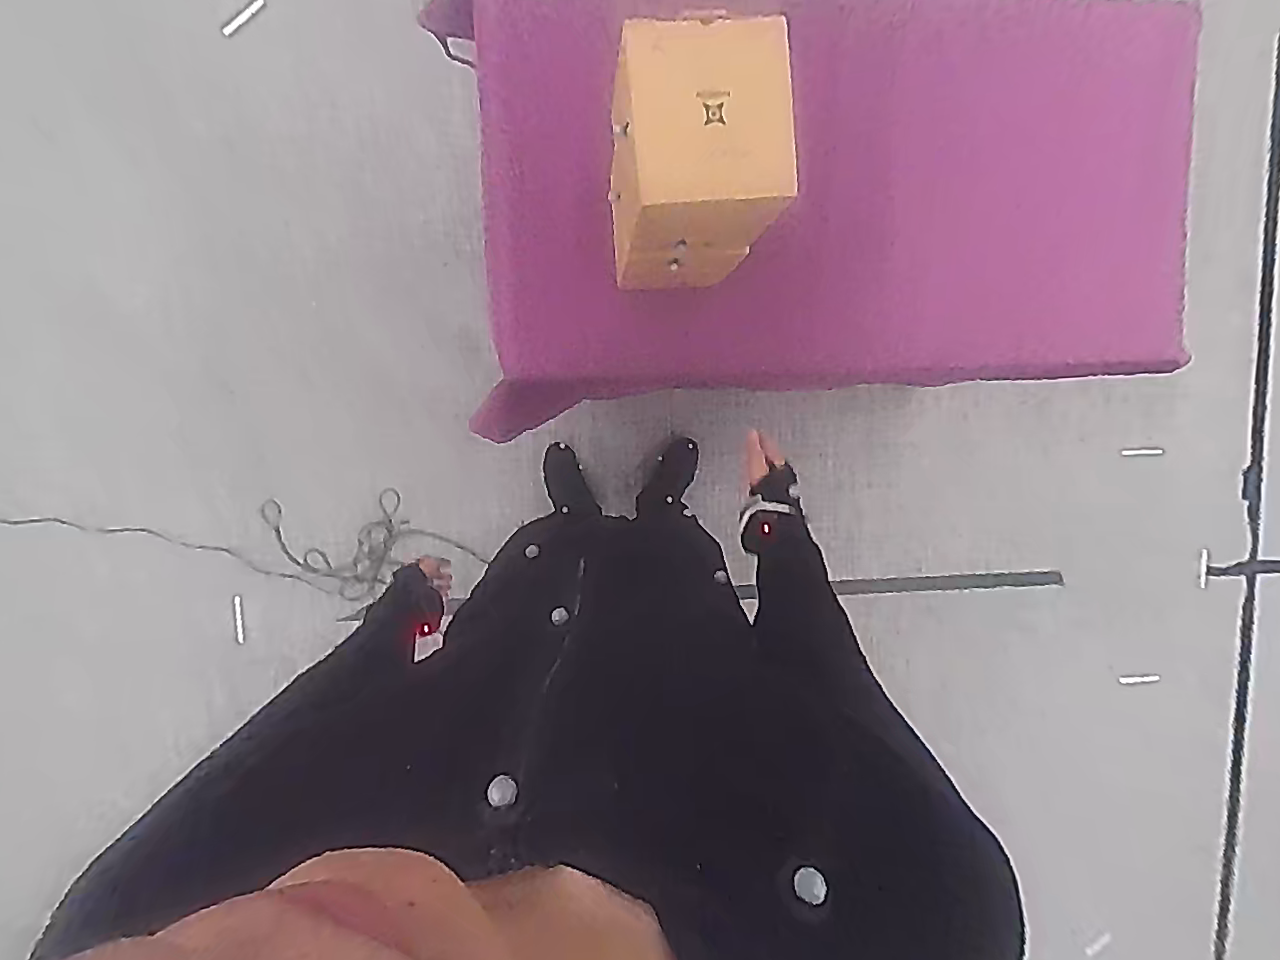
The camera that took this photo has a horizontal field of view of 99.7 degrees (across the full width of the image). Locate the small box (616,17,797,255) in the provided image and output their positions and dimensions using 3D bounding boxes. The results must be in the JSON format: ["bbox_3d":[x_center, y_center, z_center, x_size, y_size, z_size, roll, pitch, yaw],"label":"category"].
[{"bbox_3d":[0.065,-0.377,0.619,0.168,0.176,0.179,-6,96,-6],"label":"small box"}]

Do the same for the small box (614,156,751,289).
[{"bbox_3d":[0.052,-0.389,0.782,0.168,0.176,0.179,-4,95,-6],"label":"small box"}]
